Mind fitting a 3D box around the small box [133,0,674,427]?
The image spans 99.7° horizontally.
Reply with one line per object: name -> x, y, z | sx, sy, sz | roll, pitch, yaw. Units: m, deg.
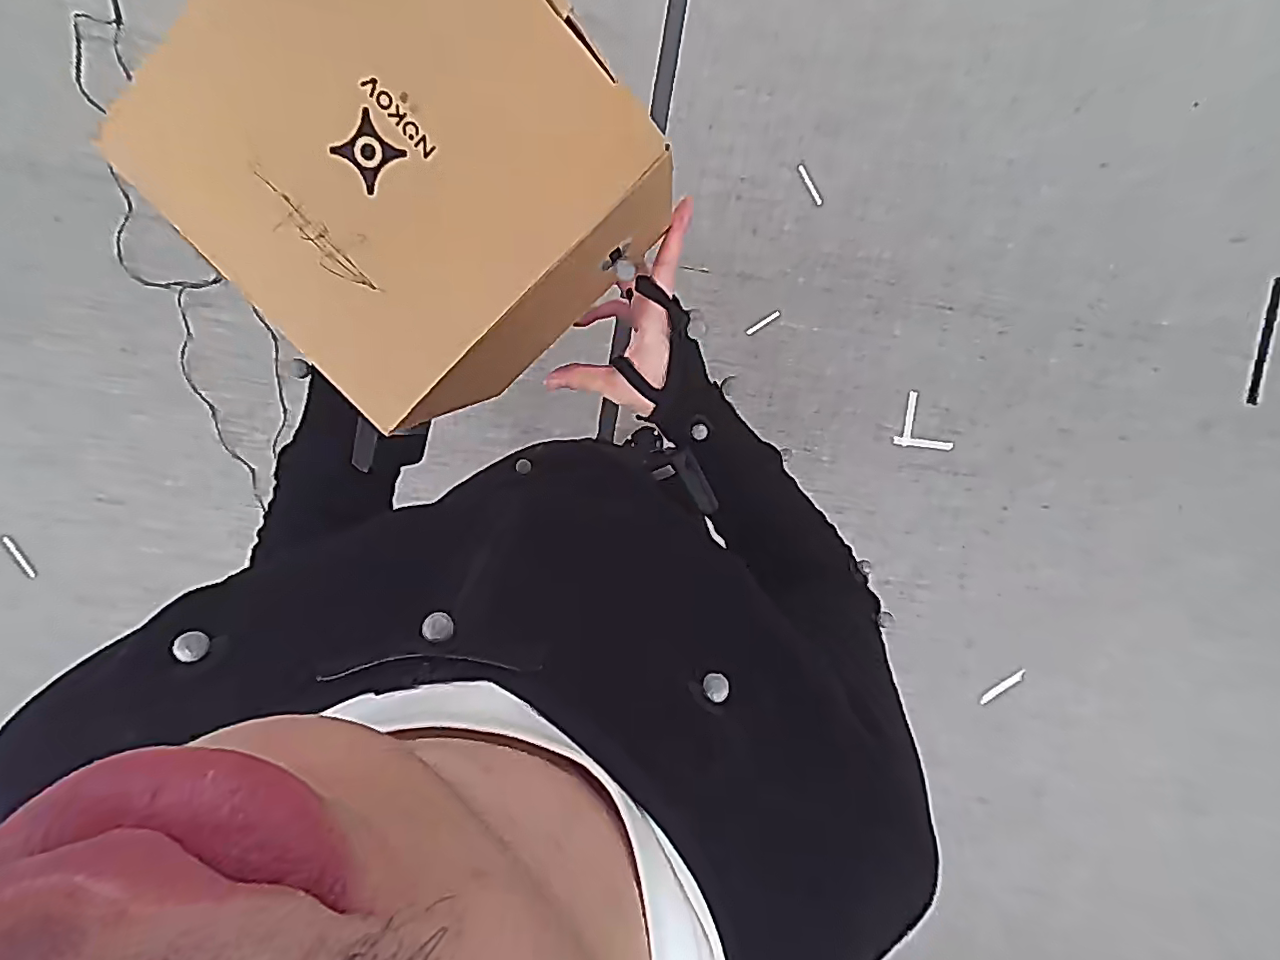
small box -> -0.099, -0.158, 0.305 | 0.179, 0.176, 0.168 | -40, 99, 13
